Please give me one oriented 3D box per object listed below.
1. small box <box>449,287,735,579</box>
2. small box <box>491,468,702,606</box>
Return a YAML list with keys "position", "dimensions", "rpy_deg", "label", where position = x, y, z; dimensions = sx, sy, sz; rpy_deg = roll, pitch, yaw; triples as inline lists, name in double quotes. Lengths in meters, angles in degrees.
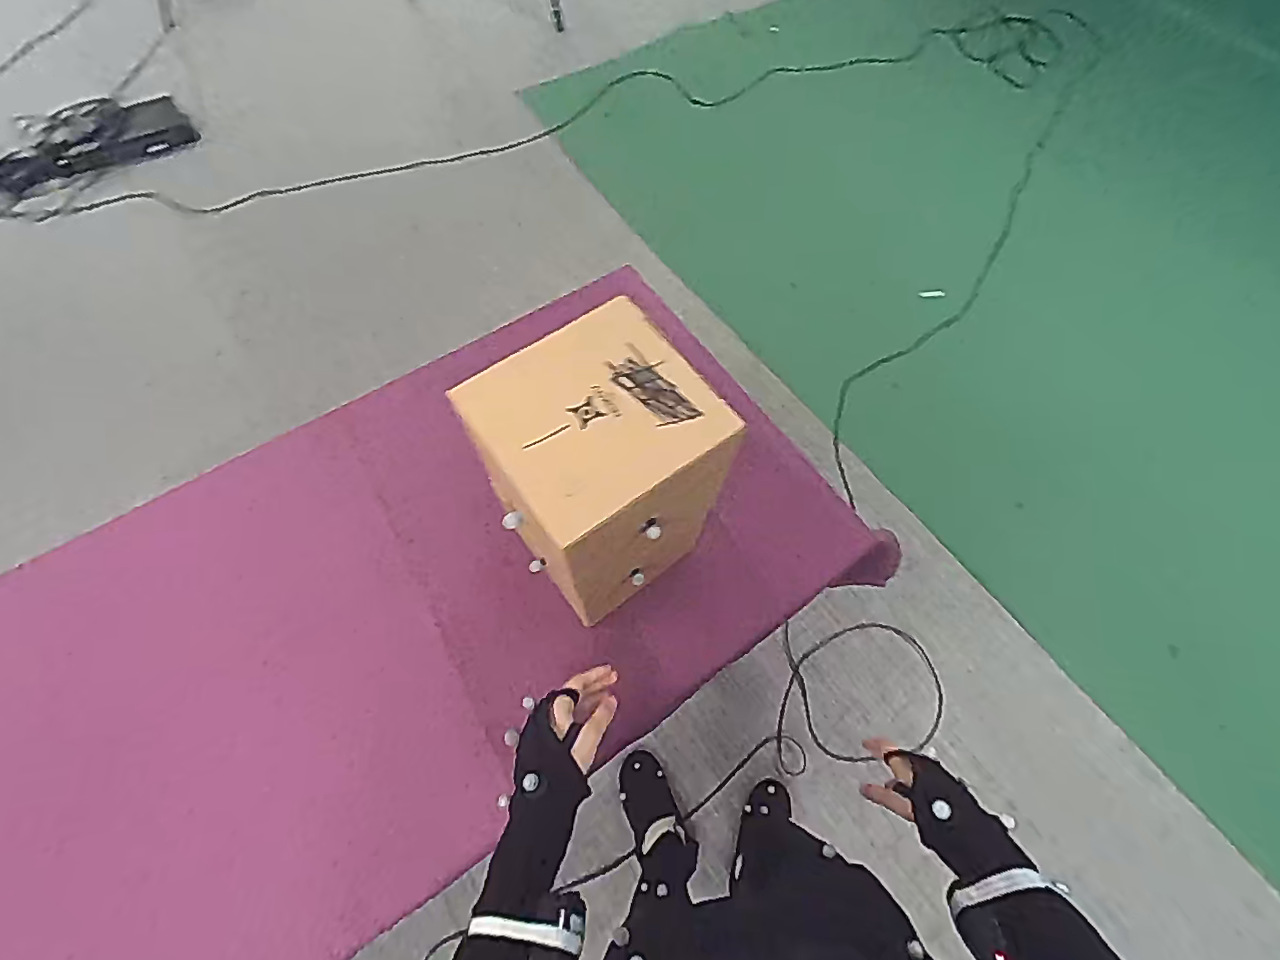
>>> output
- position: [-0.041, -0.035, 0.505]
  dimensions: [0.179, 0.176, 0.168]
  rpy_deg: [-35, 71, -15]
  label: "small box"
- position: [-0.047, 0.030, 0.656]
  dimensions: [0.179, 0.176, 0.168]
  rpy_deg: [-36, 72, -15]
  label: "small box"
